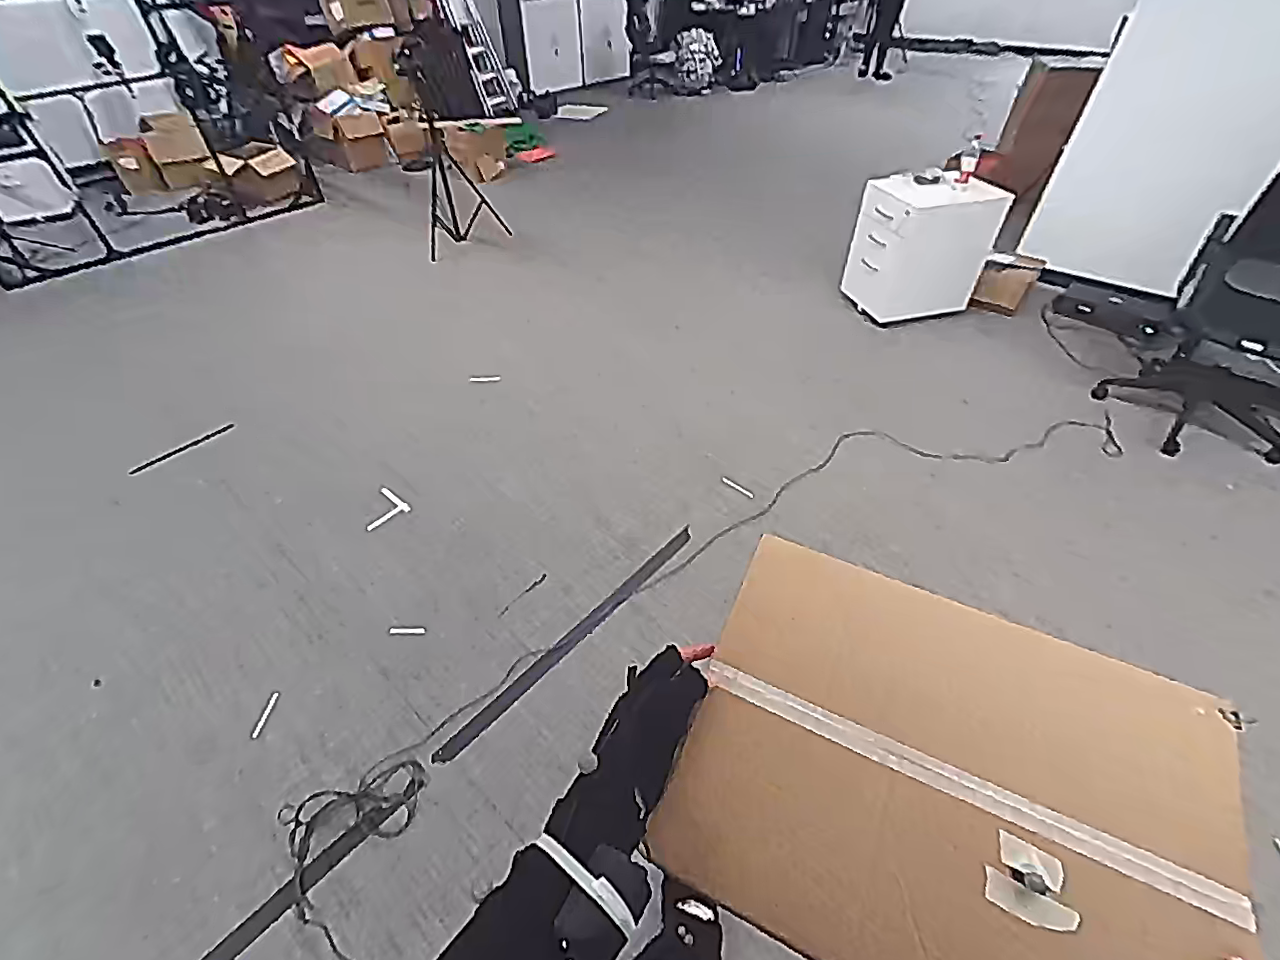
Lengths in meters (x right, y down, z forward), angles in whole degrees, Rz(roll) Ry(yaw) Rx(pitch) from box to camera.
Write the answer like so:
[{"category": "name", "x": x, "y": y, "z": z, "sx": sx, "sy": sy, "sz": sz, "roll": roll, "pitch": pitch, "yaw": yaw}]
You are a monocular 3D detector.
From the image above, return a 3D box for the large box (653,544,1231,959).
[{"category": "large box", "x": 0.260, "y": 0.327, "z": 0.578, "sx": 0.408, "sy": 0.320, "sz": 0.320, "roll": 20, "pitch": 61, "yaw": 18}]
